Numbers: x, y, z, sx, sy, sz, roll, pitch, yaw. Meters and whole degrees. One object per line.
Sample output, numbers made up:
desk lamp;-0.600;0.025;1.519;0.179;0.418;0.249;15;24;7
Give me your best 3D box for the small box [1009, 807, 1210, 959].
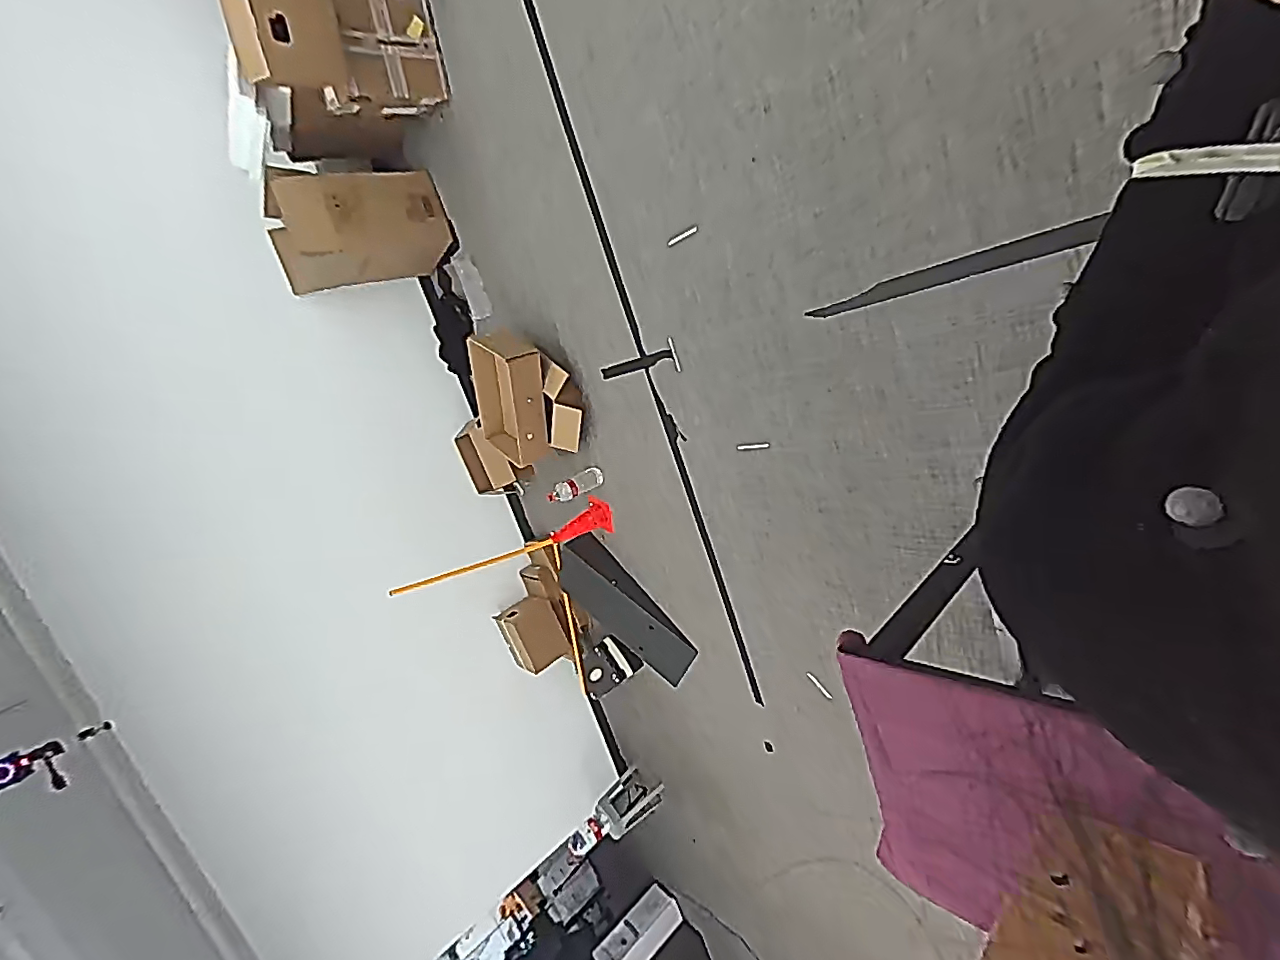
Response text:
small box;0.672;0.616;0.776;0.179;0.176;0.168;-4;110;54
